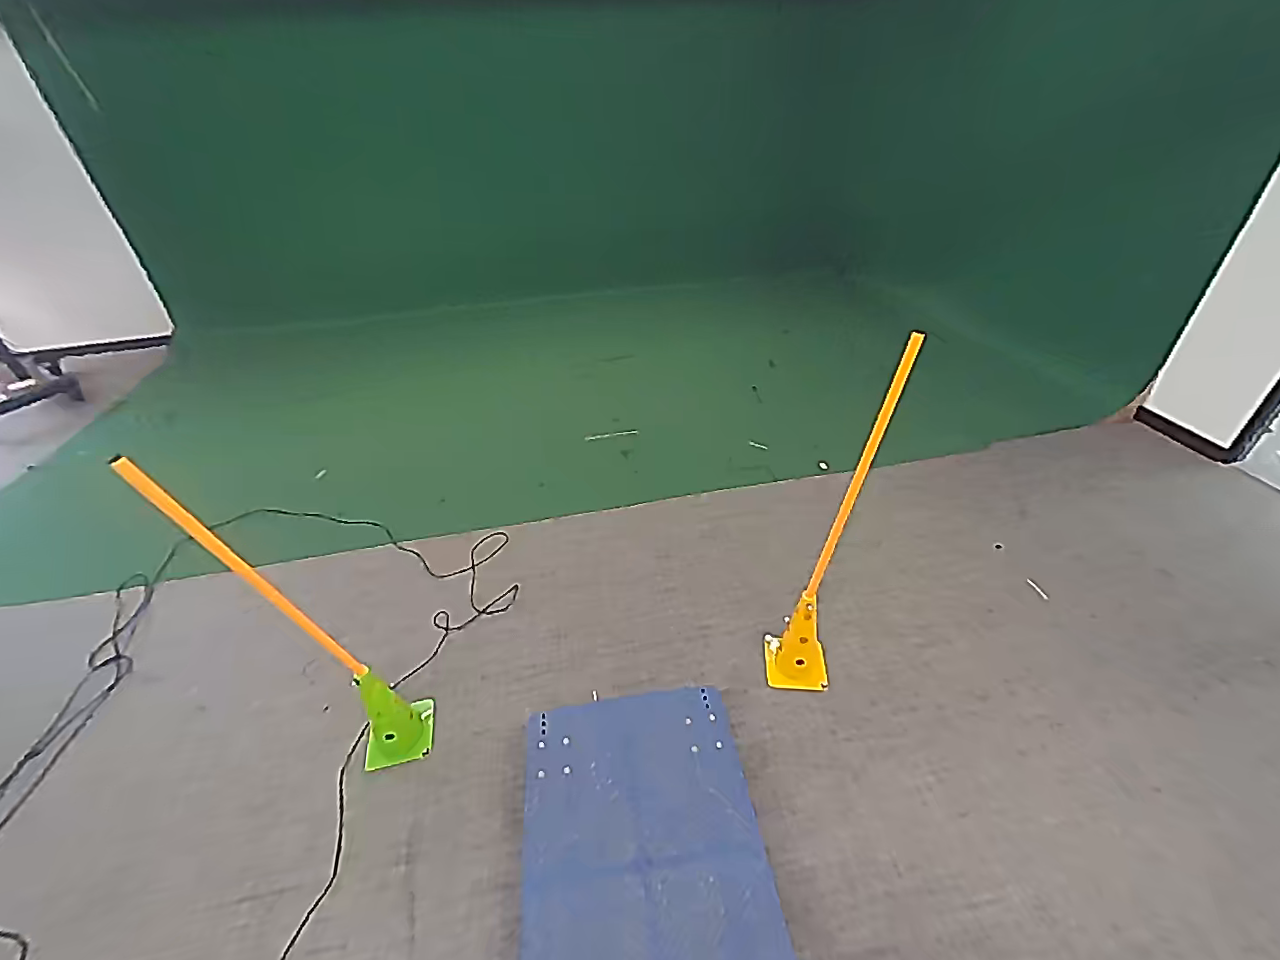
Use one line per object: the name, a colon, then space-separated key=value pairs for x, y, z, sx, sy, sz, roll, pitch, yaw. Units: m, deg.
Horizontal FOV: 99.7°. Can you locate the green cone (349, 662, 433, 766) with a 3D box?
green cone: x=-0.789 y=0.671 z=1.647 sx=0.202 sy=0.368 sz=0.200 roll=-13 pitch=38 yaw=-9
